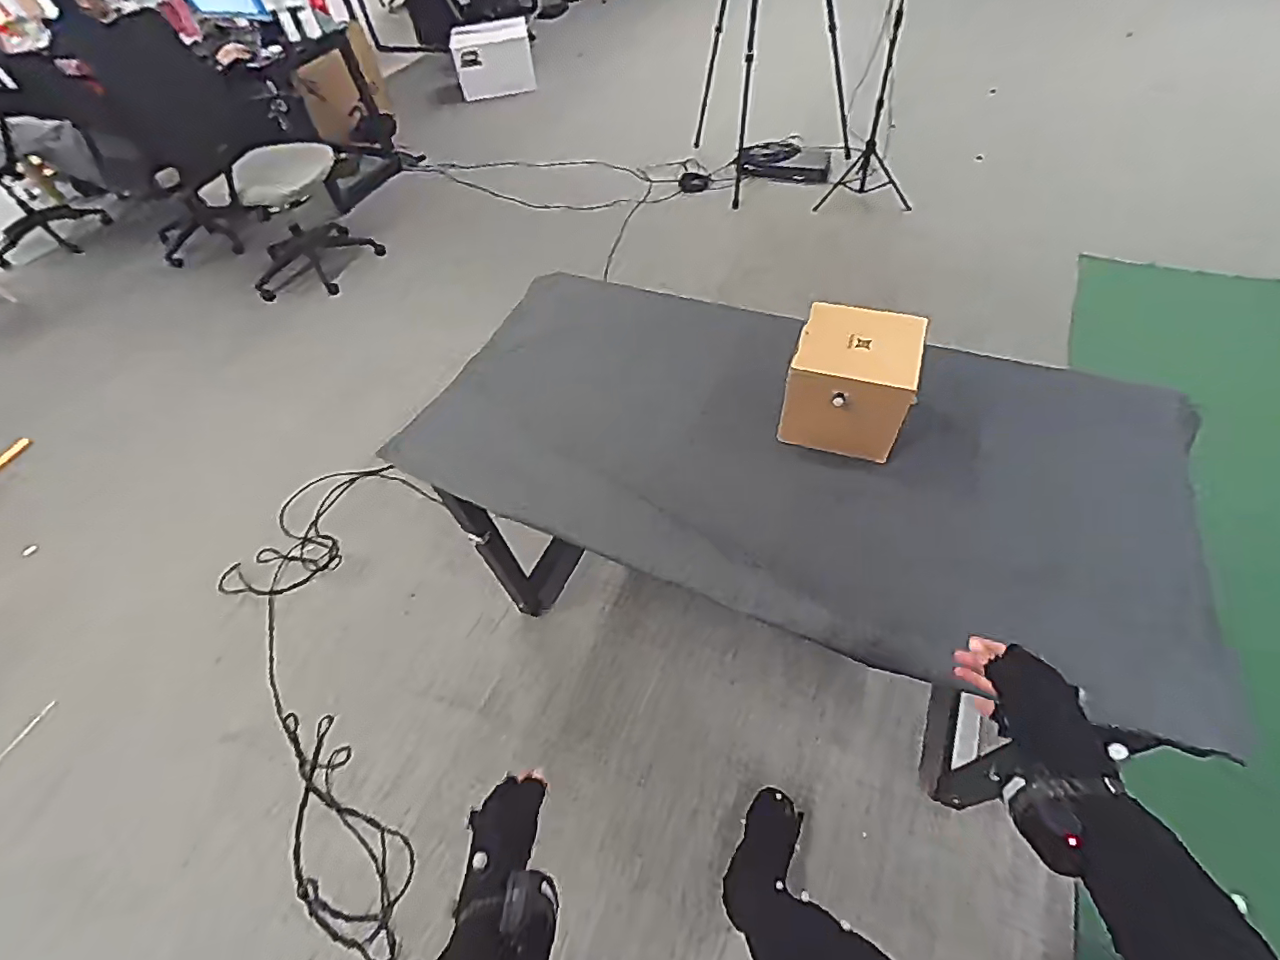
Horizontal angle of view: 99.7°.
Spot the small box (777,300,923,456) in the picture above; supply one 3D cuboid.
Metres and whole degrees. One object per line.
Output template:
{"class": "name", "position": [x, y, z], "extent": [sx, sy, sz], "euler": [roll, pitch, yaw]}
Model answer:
{"class": "small box", "position": [0.330, -0.160, 0.870], "extent": [0.179, 0.176, 0.168], "euler": [14, 57, 18]}
